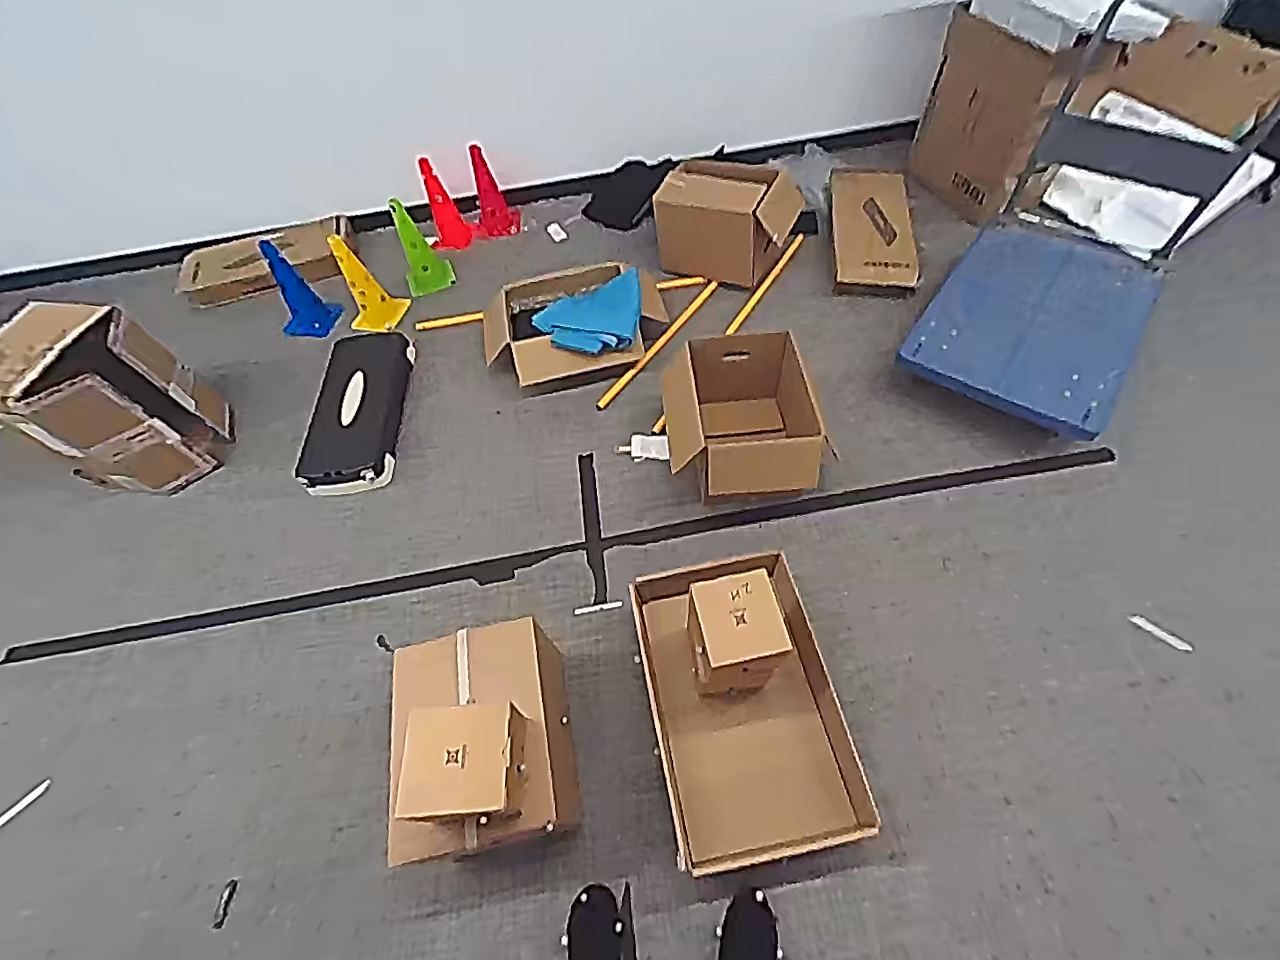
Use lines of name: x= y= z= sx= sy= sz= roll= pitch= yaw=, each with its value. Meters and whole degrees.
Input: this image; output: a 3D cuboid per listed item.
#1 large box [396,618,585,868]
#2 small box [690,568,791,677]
large box: x=-0.326 y=0.577 z=1.207 sx=0.320 sy=0.320 sz=0.408 roll=-14 pitch=58 yaw=-3
small box: x=0.205 y=0.311 z=1.152 sx=0.168 sy=0.176 sz=0.179 roll=-11 pitch=59 yaw=-3
